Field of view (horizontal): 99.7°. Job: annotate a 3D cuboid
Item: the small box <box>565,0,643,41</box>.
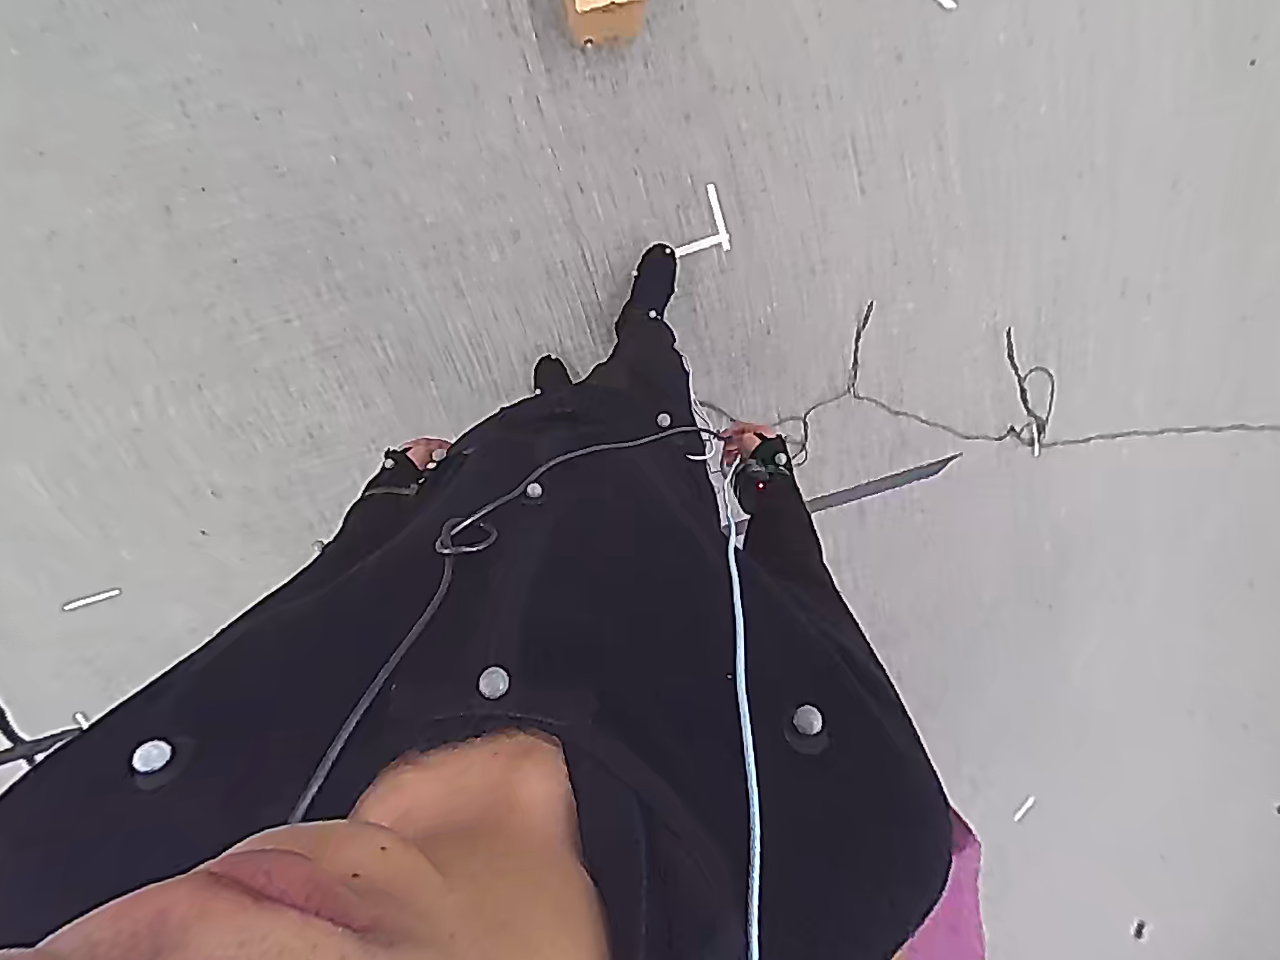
[{"bbox_3d":[-0.091,-1.153,1.243,0.168,0.176,0.179,-14,106,-4],"label":"small box"}]
